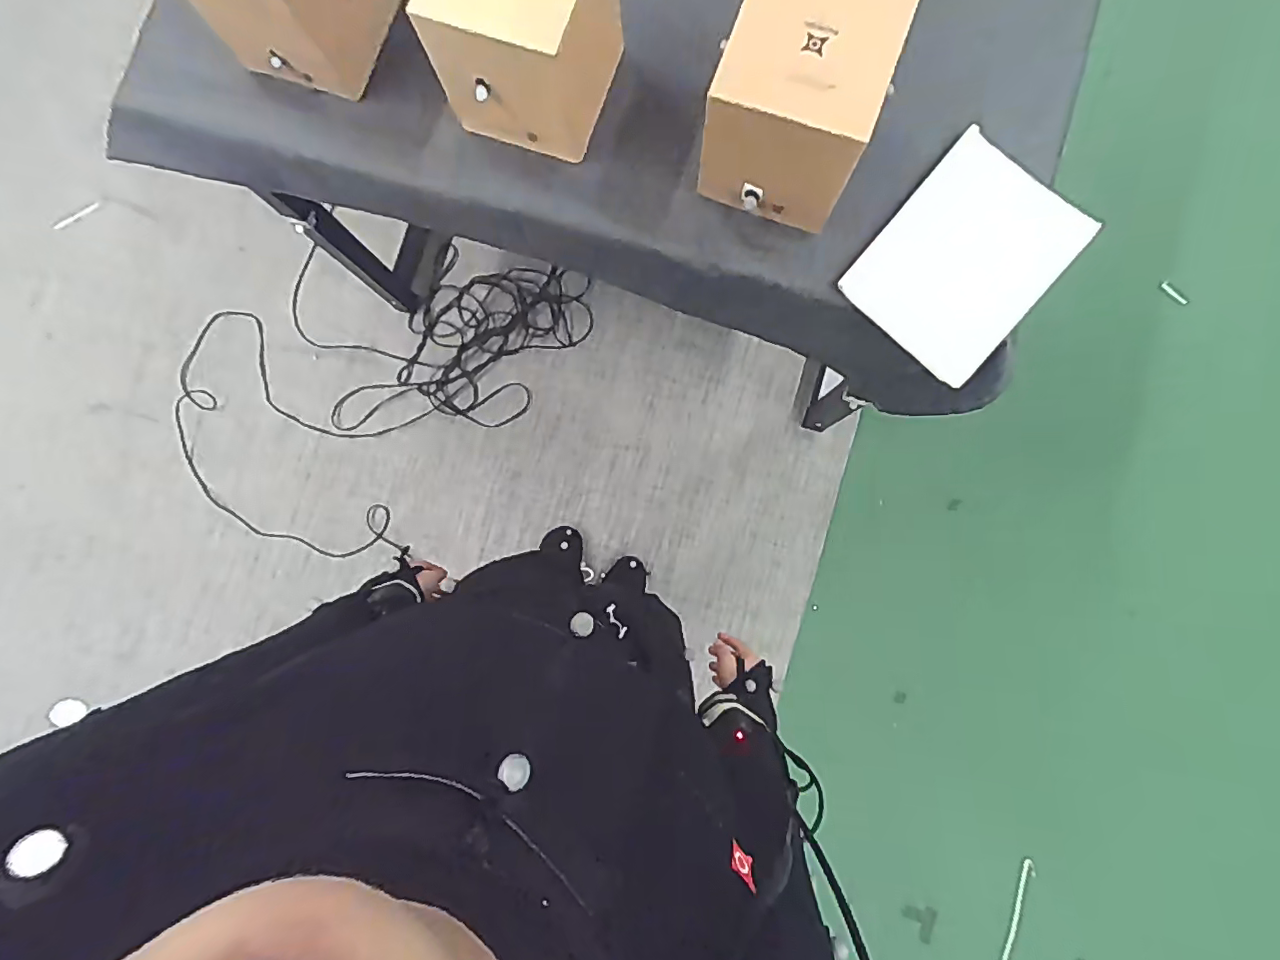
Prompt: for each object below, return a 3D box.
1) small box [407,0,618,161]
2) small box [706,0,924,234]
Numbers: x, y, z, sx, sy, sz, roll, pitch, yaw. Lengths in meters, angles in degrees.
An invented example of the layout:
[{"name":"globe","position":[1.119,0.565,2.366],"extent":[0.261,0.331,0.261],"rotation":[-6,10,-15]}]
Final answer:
[{"name":"small box","position":[-0.129,-0.514,0.623],"extent":[0.168,0.176,0.179],"rotation":[19,85,4]},{"name":"small box","position":[0.178,-0.417,0.605],"extent":[0.168,0.176,0.179],"rotation":[20,87,5]}]
